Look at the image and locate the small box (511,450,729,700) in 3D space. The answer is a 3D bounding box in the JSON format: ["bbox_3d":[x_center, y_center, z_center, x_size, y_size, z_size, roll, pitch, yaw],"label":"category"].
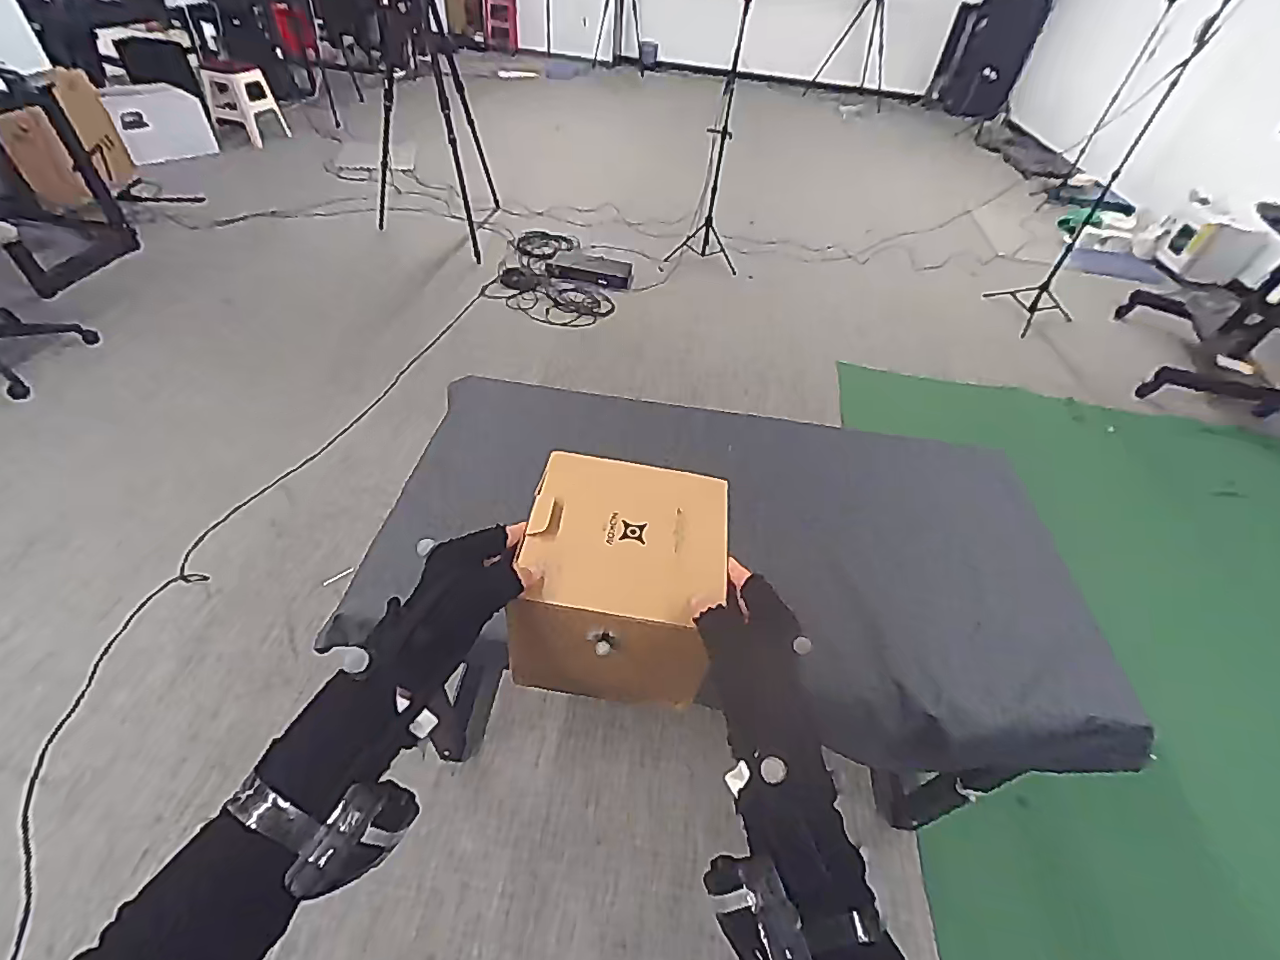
[{"bbox_3d":[-0.019,0.098,0.530,0.179,0.176,0.168,10,47,-3],"label":"small box"}]
